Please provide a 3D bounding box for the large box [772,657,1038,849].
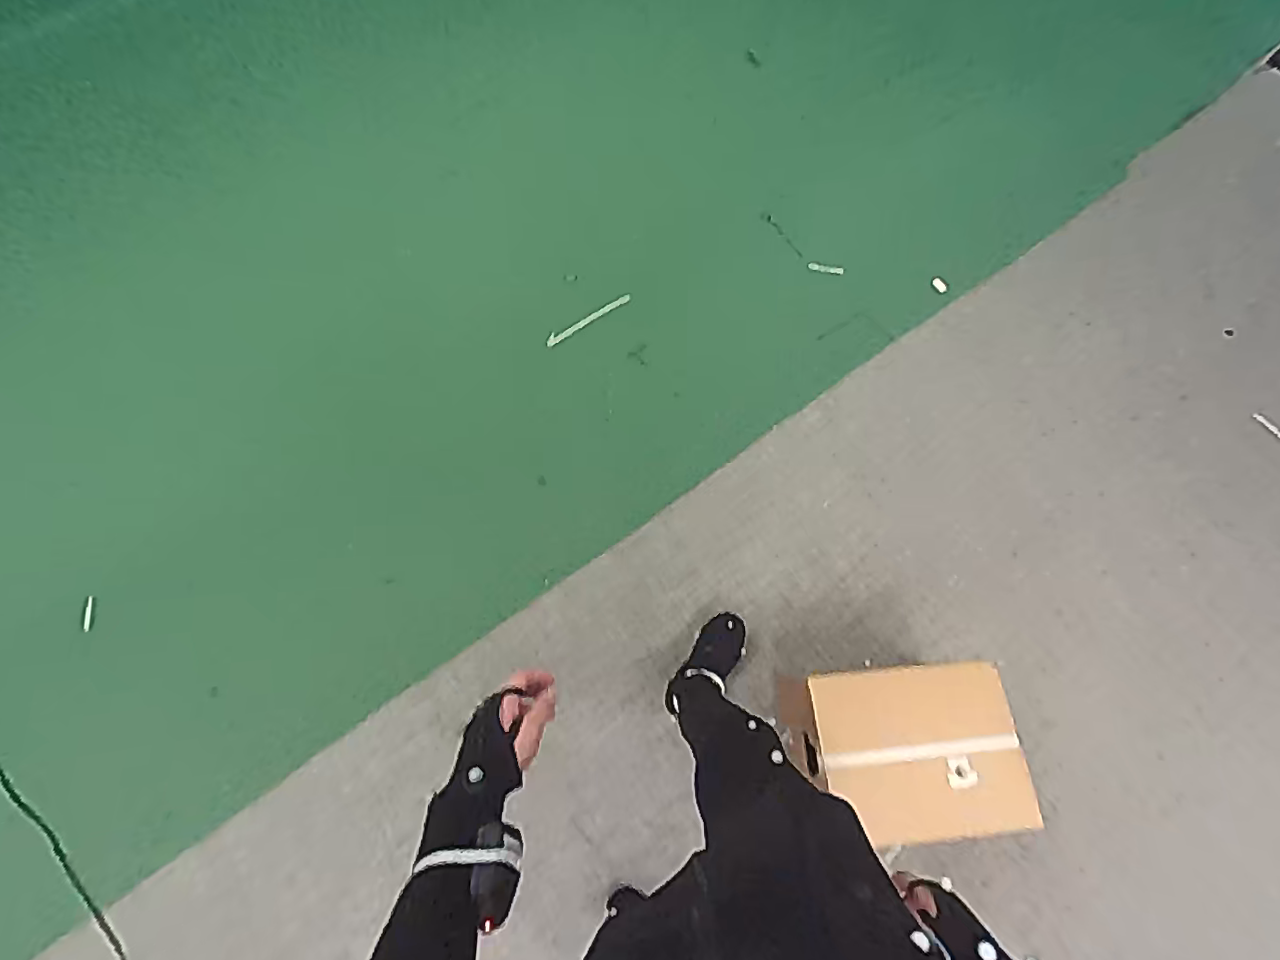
[{"bbox_3d":[0.555,0.591,1.223,0.408,0.320,0.320,-5,70,-2],"label":"large box"}]
